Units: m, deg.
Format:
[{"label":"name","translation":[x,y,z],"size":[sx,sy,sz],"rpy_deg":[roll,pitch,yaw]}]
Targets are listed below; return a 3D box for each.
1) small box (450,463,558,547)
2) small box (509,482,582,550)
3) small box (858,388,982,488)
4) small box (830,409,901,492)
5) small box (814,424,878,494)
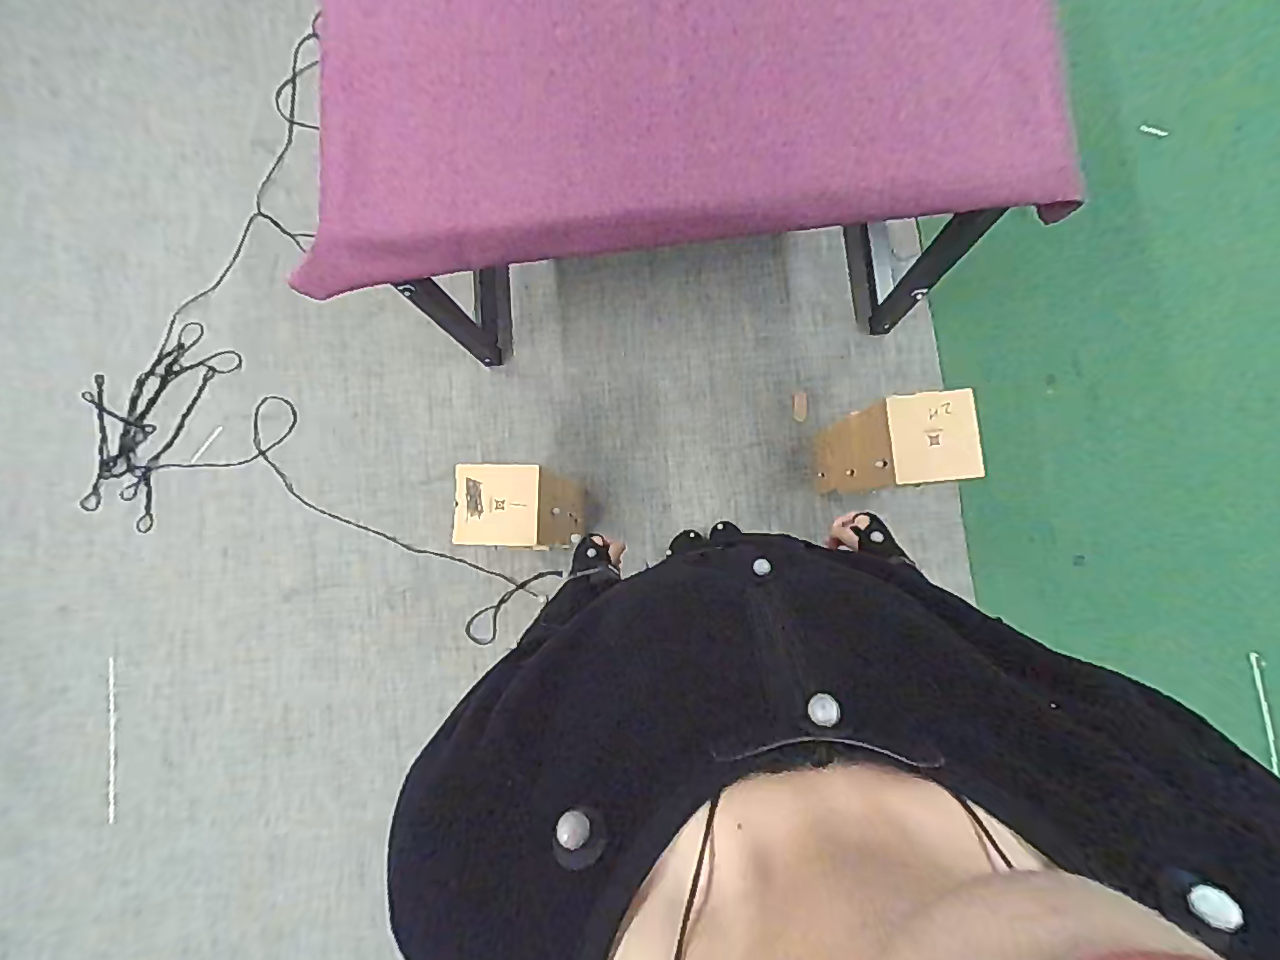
[{"label":"small box","translation":[-0.283,0.058,1.156],"size":[0.179,0.176,0.168],"rpy_deg":[1,84,4]},{"label":"small box","translation":[-0.254,0.099,1.481],"size":[0.168,0.176,0.179],"rpy_deg":[-1,85,4]},{"label":"small box","translation":[0.563,-0.078,1.108],"size":[0.168,0.176,0.179],"rpy_deg":[-6,85,3]},{"label":"small box","translation":[0.560,-0.070,1.274],"size":[0.168,0.176,0.179],"rpy_deg":[-6,85,4]},{"label":"small box","translation":[0.567,-0.055,1.434],"size":[0.179,0.176,0.168],"rpy_deg":[-3,84,4]}]
